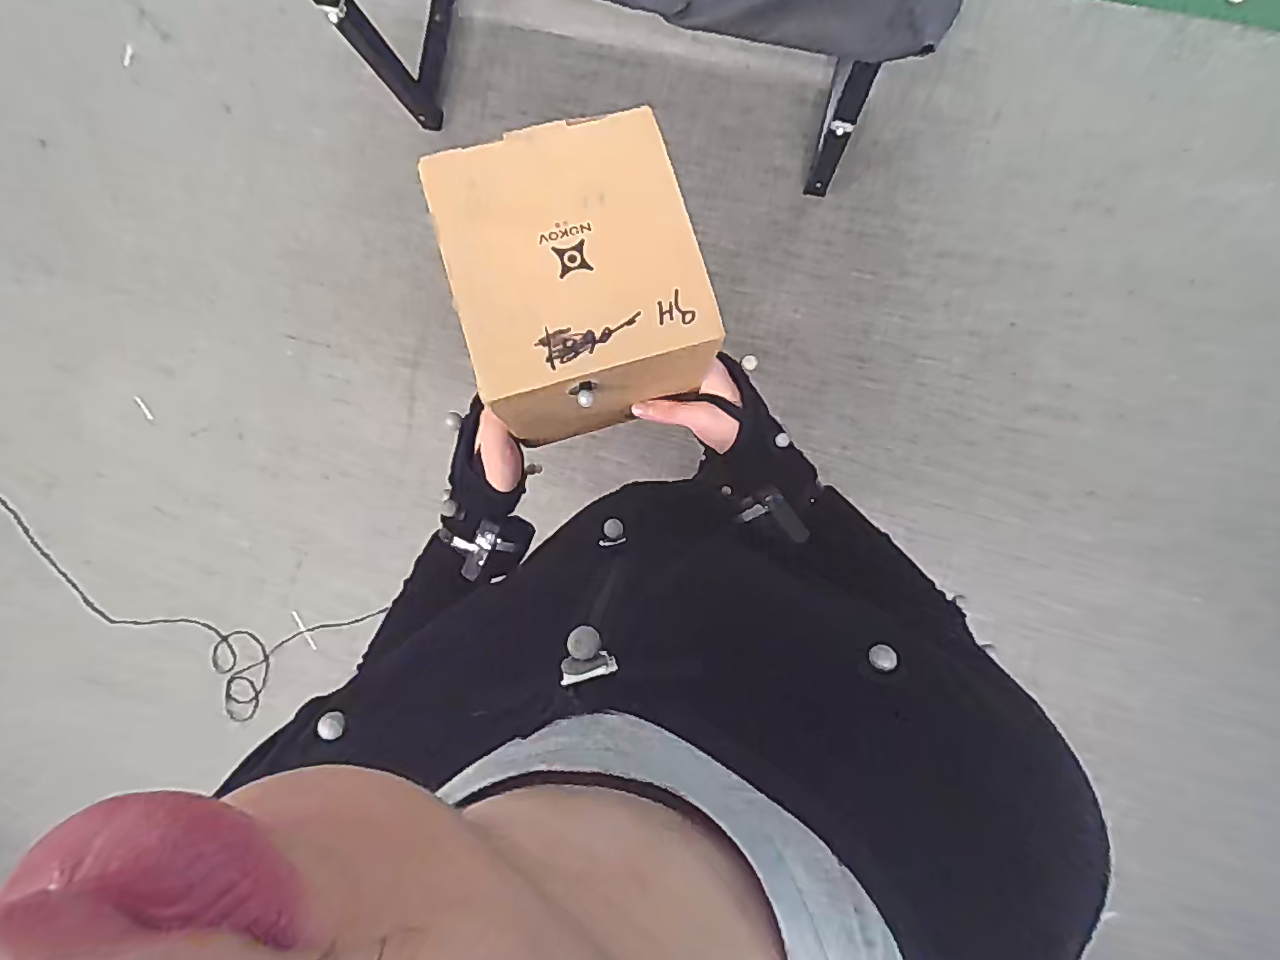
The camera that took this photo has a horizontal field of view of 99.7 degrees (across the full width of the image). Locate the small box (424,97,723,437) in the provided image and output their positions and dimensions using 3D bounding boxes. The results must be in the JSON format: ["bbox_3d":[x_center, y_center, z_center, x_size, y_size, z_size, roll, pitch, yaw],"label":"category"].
[{"bbox_3d":[-0.048,-0.151,0.437,0.168,0.176,0.179,-16,83,-3],"label":"small box"}]
